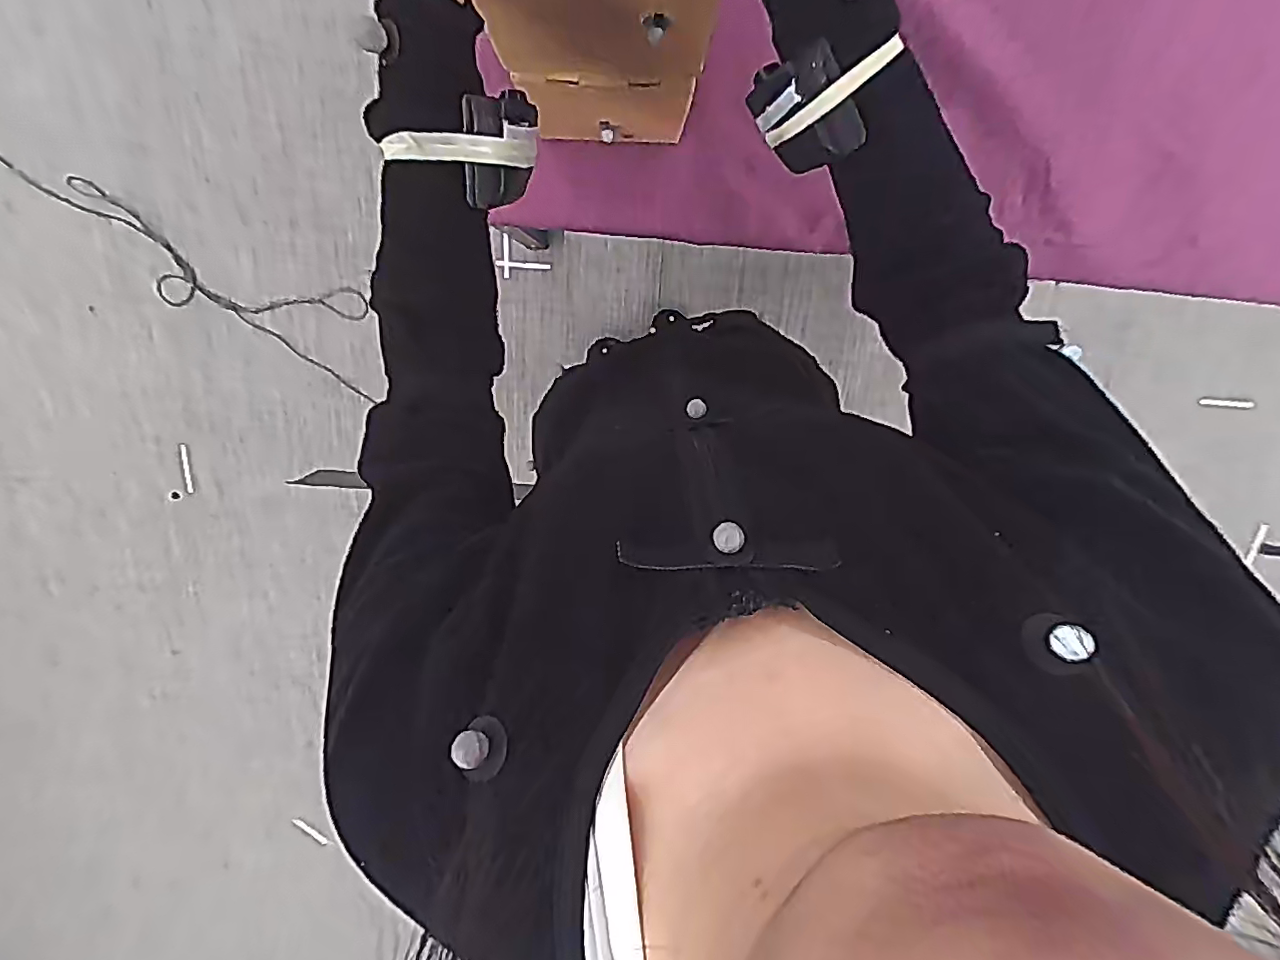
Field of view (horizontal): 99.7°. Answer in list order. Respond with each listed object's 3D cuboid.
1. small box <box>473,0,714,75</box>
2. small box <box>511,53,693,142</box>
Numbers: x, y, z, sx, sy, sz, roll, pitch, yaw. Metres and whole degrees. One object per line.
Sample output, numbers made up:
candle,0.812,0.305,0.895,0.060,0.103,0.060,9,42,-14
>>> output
small box,-0.031,-0.418,0.380,0.179,0.176,0.168,0,105,0
small box,-0.035,-0.464,0.536,0.168,0.176,0.179,1,107,-2
